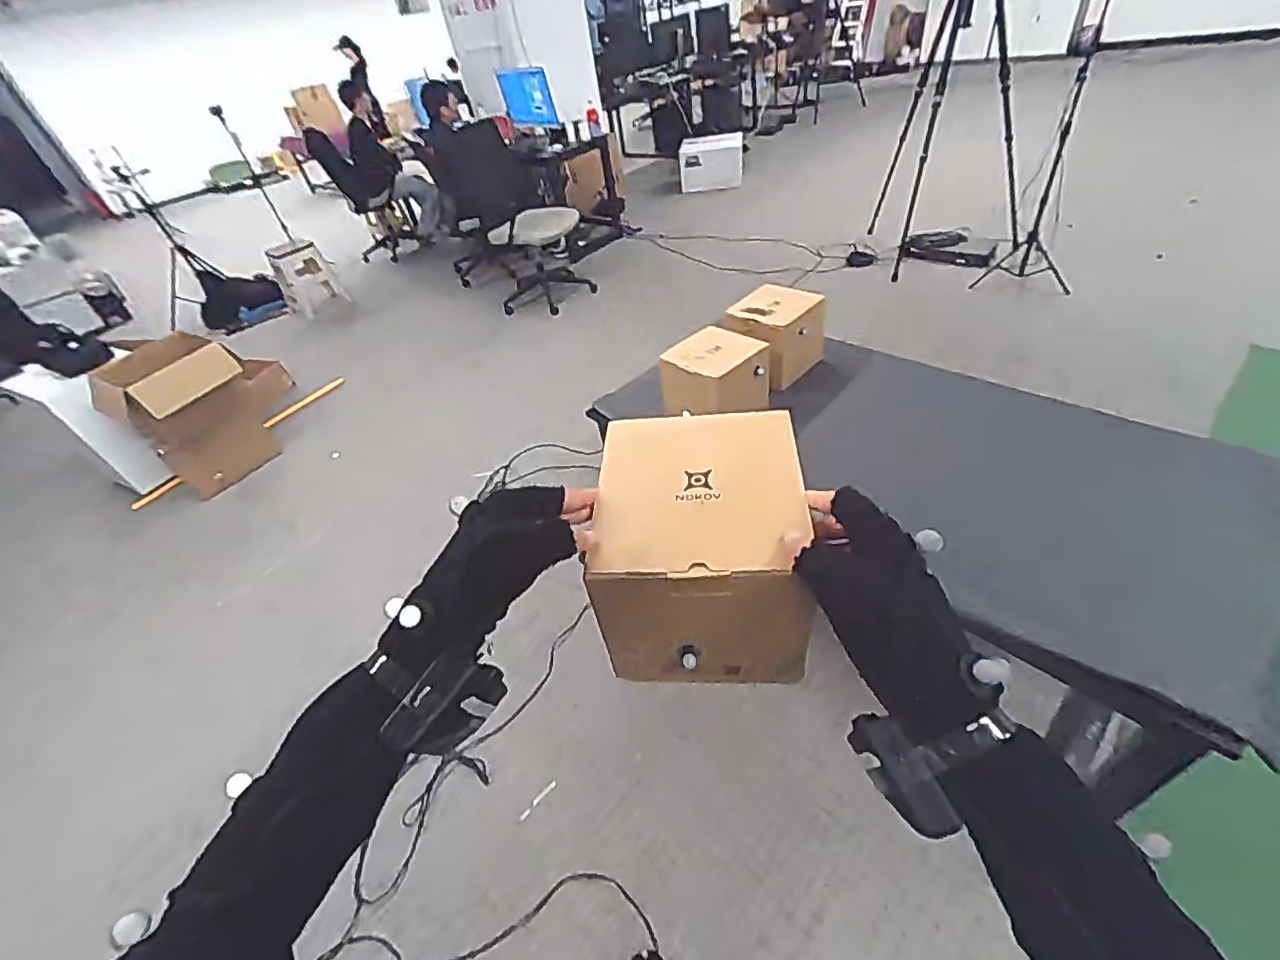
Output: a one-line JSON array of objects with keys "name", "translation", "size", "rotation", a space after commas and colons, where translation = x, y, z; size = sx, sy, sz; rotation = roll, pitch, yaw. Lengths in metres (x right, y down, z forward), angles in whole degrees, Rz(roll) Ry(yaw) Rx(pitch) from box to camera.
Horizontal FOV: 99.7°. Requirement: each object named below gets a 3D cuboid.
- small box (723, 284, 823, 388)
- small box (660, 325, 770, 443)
[{"name": "small box", "translation": [0.323, -0.347, 1.308], "size": [0.168, 0.176, 0.179], "rotation": [29, 55, 36]}, {"name": "small box", "translation": [0.165, -0.213, 1.194], "size": [0.179, 0.176, 0.168], "rotation": [-36, 48, -27]}]
